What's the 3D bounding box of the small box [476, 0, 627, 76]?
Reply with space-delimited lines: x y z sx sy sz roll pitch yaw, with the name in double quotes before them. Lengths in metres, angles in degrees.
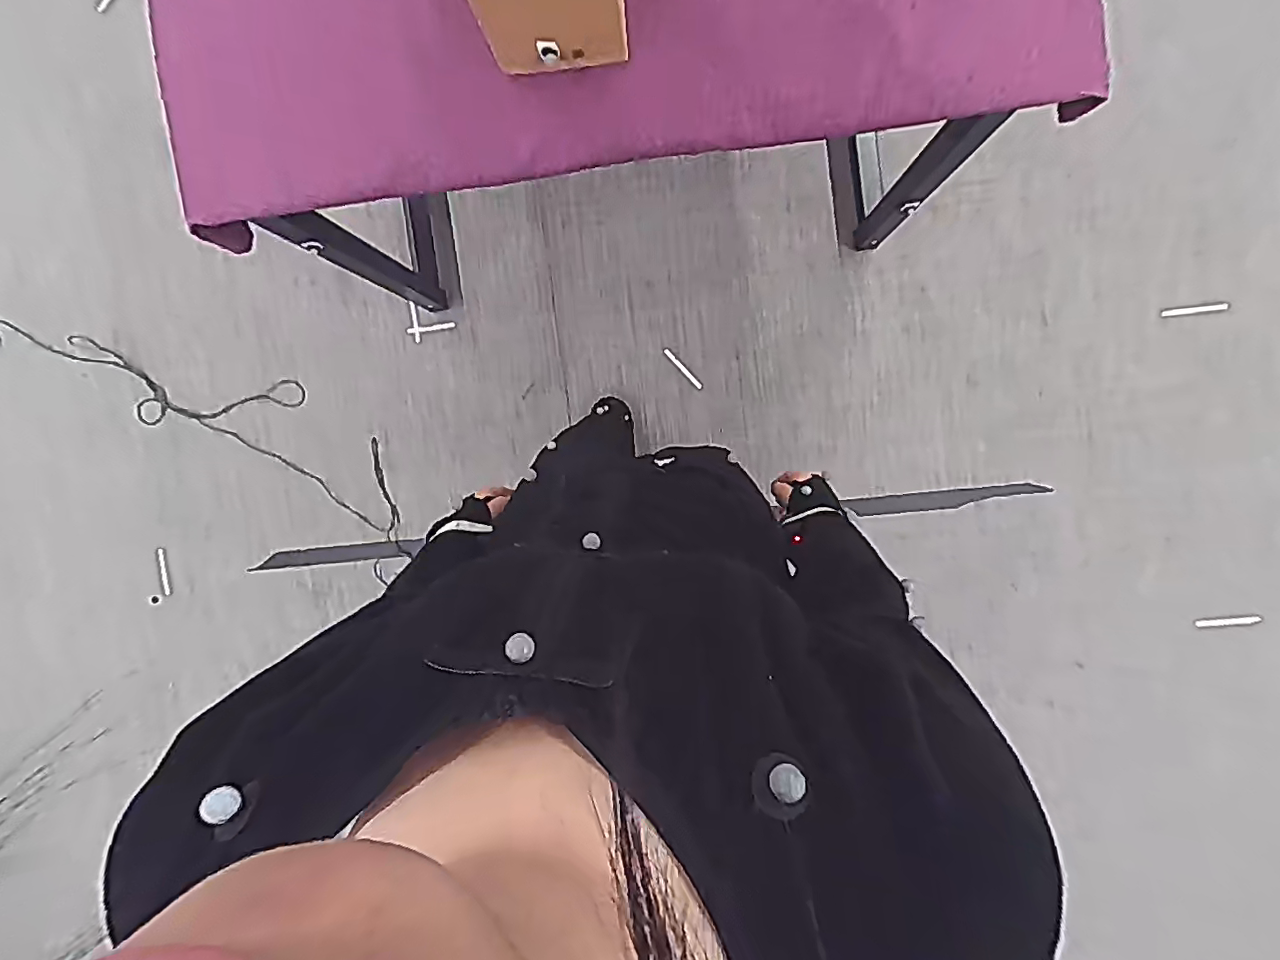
"small box" -0.108 -0.615 0.619 0.168 0.176 0.179 -4 94 5
